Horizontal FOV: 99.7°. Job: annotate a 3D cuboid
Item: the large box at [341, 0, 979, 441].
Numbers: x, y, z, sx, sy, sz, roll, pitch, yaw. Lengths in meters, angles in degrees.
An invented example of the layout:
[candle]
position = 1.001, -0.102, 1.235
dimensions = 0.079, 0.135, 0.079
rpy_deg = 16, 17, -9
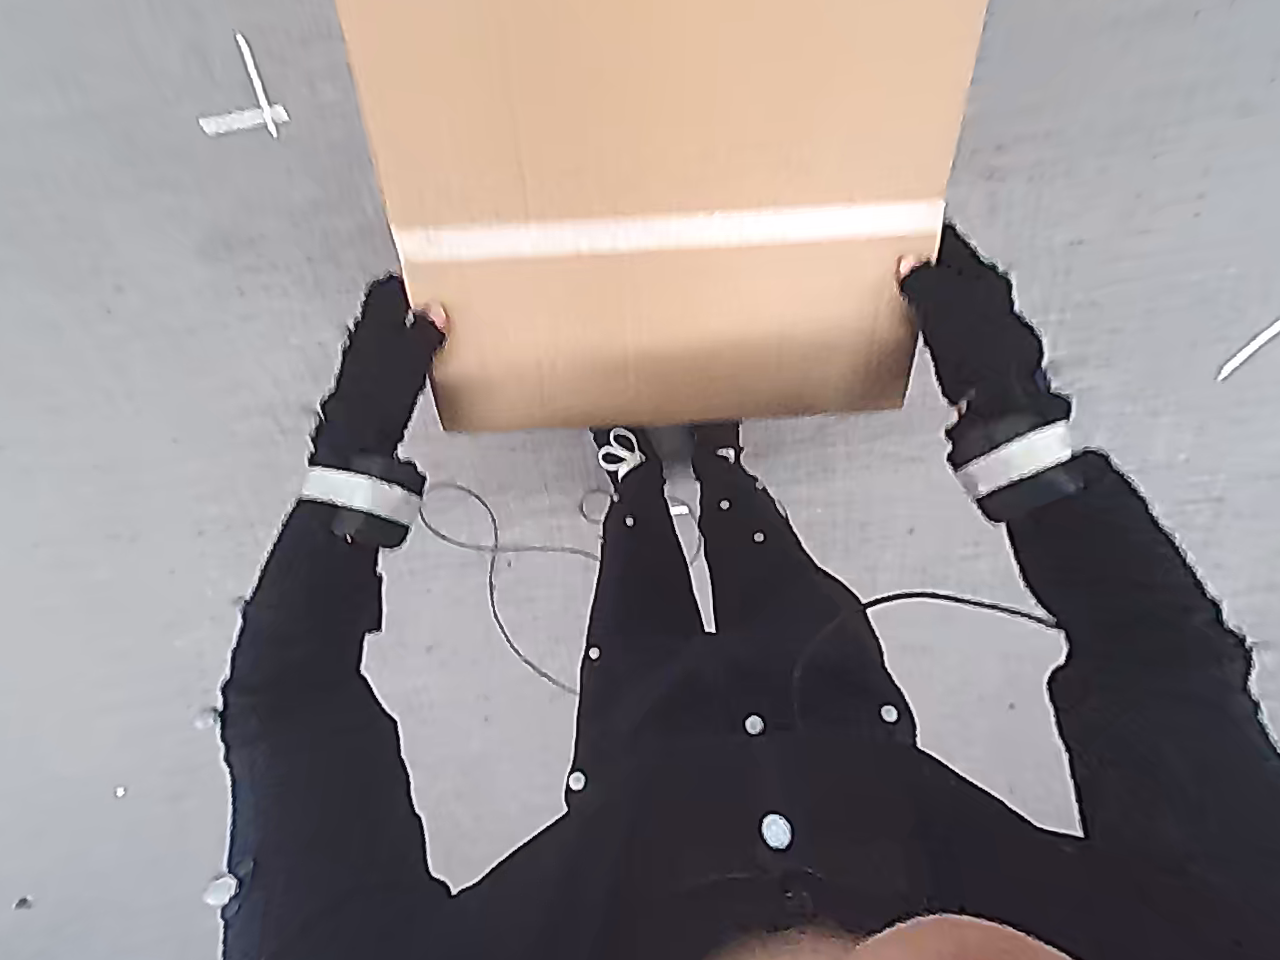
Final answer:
[large box]
position = 0.019, -0.254, 0.530
dimensions = 0.408, 0.320, 0.320
rpy_deg = -3, 120, 0
